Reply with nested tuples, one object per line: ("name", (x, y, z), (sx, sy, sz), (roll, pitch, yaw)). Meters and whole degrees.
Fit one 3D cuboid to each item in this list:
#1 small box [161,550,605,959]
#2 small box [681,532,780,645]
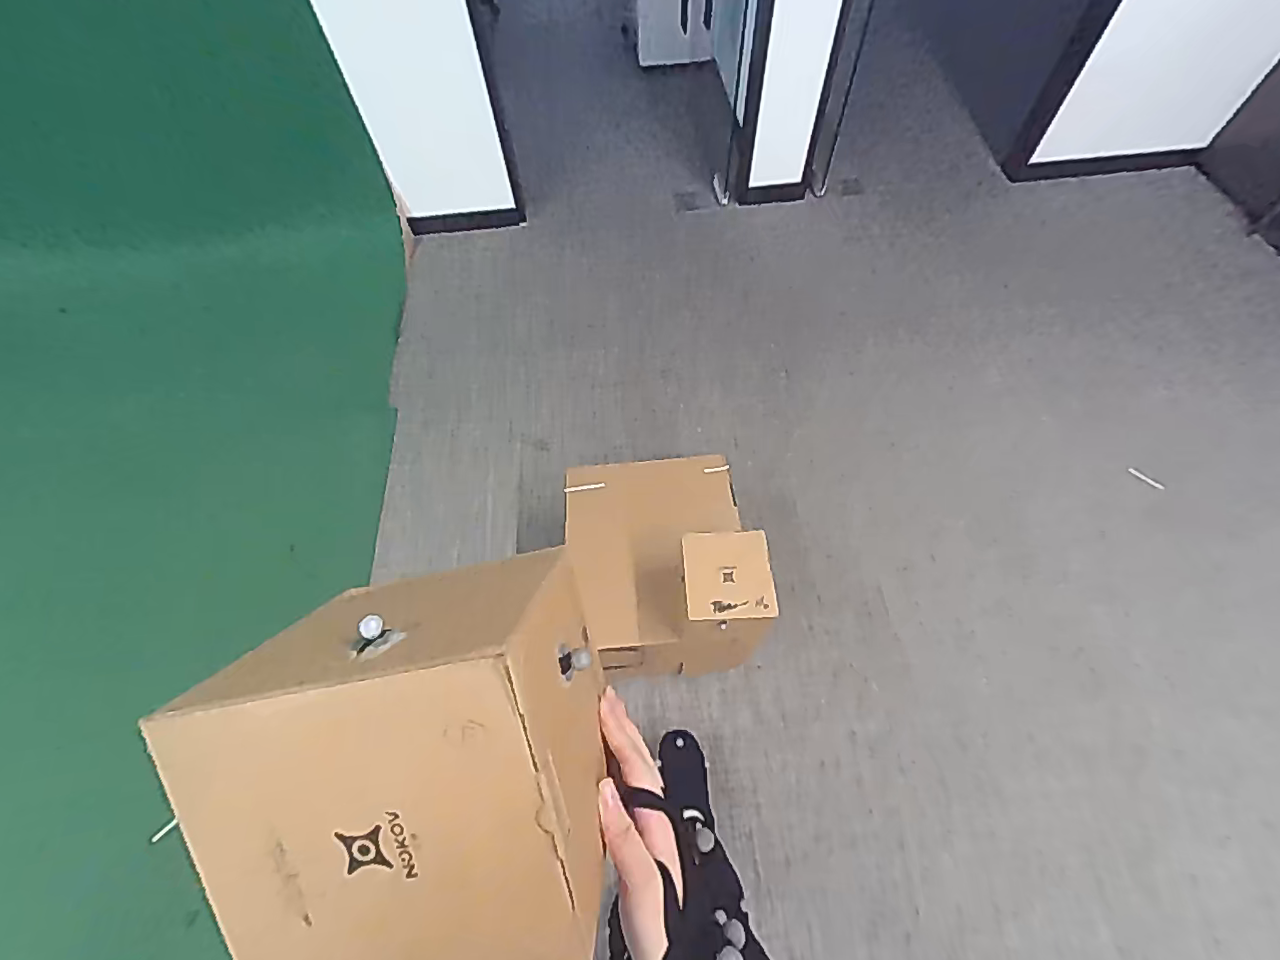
("small box", (-0.122, 0.153, 0.338), (0.179, 0.176, 0.168), (-11, 98, 5))
("small box", (0.171, 0.219, 1.079), (0.168, 0.176, 0.179), (-2, 58, 1))
